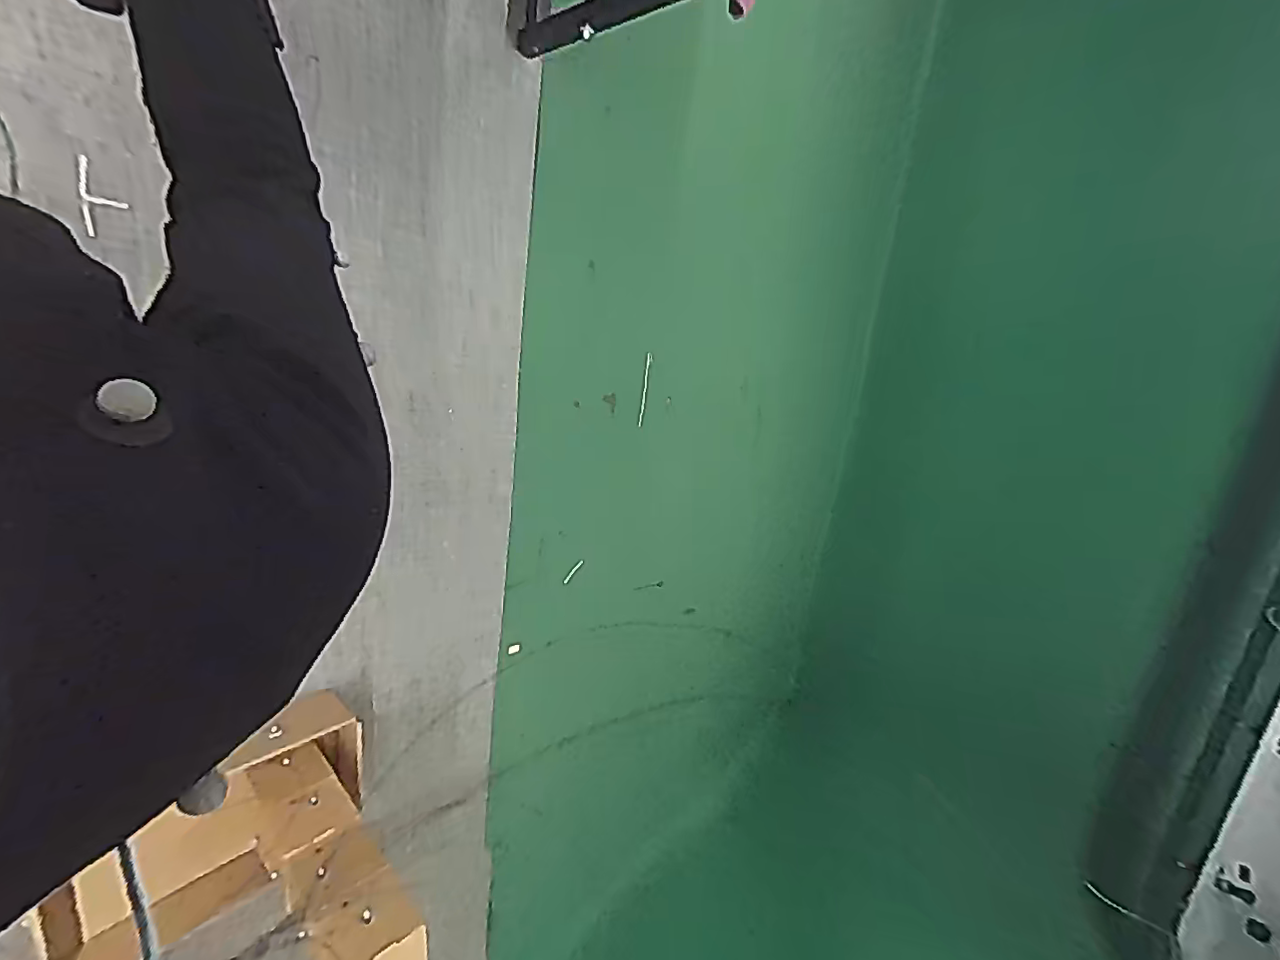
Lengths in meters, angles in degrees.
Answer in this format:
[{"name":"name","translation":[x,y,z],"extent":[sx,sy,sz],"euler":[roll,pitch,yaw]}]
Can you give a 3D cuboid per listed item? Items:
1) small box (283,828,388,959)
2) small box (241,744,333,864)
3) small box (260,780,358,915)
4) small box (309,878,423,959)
[{"name":"small box","translation":[-0.688,0.935,1.225],"extent":[0.168,0.176,0.179],"euler":[-12,114,-46]},{"name":"small box","translation":[-0.930,0.842,1.424],"extent":[0.168,0.176,0.179],"euler":[-9,112,-49]},{"name":"small box","translation":[-0.810,0.886,1.324],"extent":[0.168,0.176,0.179],"euler":[-10,112,-48]},{"name":"small box","translation":[-0.569,0.981,1.124],"extent":[0.168,0.176,0.179],"euler":[-11,113,-46]}]
